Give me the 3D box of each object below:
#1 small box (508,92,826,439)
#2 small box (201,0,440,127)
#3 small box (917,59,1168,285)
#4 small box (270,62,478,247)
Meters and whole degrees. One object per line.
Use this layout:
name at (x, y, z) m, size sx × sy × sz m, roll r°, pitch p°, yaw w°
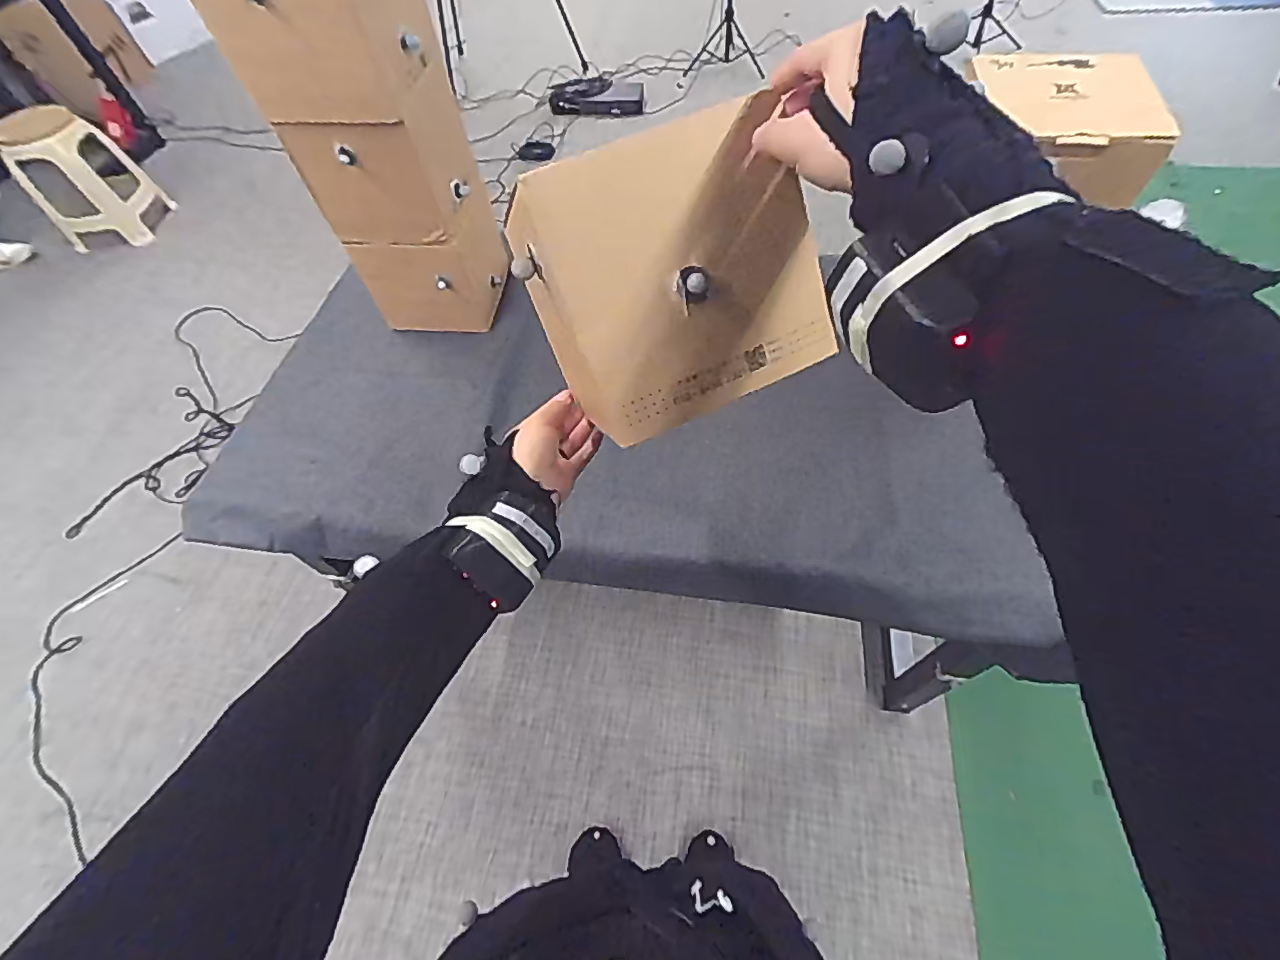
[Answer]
small box at (0.014, -0.145, 0.410) m, size 0.168 × 0.176 × 0.179 m, roll -24°, pitch 20°, yaw -9°
small box at (-0.355, -0.524, 0.604) m, size 0.179 × 0.176 × 0.168 m, roll 5°, pitch 60°, yaw 6°
small box at (0.438, -0.350, 0.626) m, size 0.168 × 0.176 × 0.179 m, roll 8°, pitch 60°, yaw 9°
small box at (-0.348, -0.446, 0.749) m, size 0.179 × 0.176 × 0.168 m, roll 3°, pitch 60°, yaw 5°
